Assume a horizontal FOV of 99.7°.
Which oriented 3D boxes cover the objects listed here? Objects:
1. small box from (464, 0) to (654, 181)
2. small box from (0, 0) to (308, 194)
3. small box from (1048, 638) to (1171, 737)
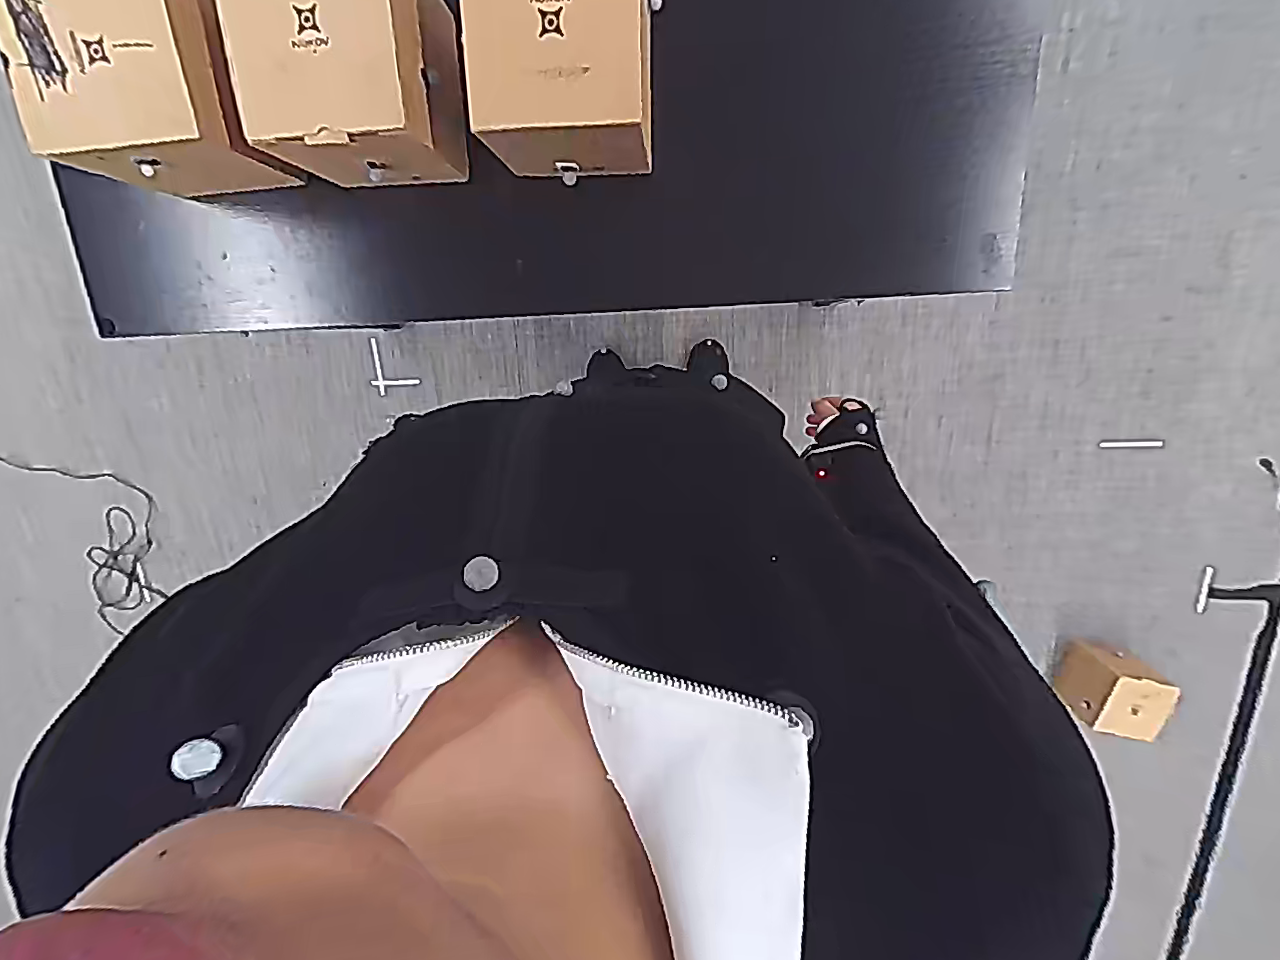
[{"bbox_3d":[-0.074,-0.437,0.570,0.168,0.176,0.179,0,106,5],"label":"small box"},{"bbox_3d":[-0.514,-0.429,0.596,0.179,0.176,0.168,-4,105,3],"label":"small box"},{"bbox_3d":[1.295,0.575,1.510,0.168,0.176,0.179,12,106,0],"label":"small box"}]
